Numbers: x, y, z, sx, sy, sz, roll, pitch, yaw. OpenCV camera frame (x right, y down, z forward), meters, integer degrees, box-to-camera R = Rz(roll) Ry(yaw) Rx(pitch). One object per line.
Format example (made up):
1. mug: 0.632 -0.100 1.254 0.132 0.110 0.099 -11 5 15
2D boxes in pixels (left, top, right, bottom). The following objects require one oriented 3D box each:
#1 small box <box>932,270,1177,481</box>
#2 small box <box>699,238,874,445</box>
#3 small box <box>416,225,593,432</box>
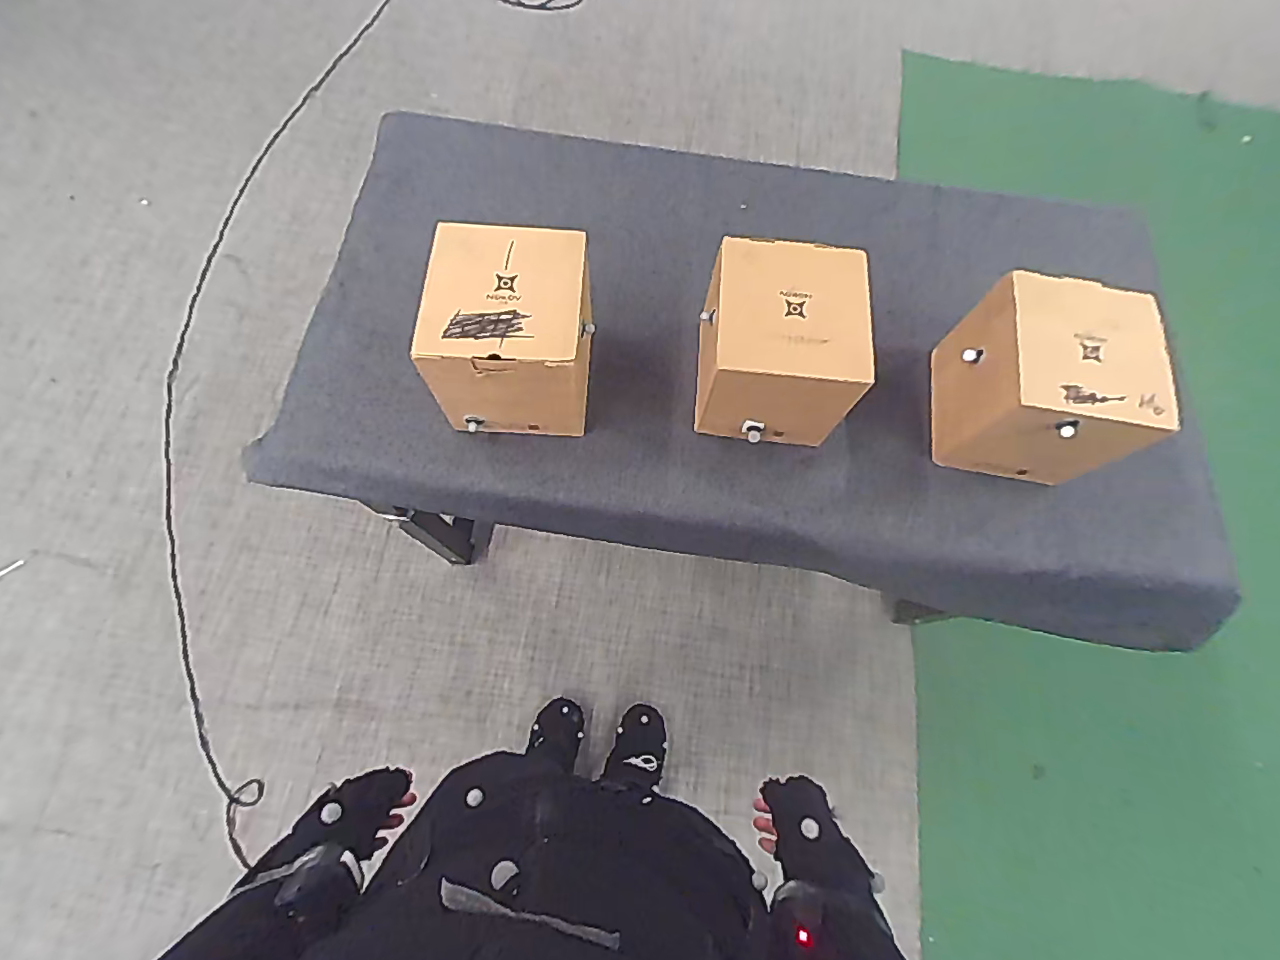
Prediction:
1. small box: 0.478 -0.118 0.658 0.168 0.176 0.179 10 69 2
2. small box: 0.165 -0.160 0.661 0.168 0.176 0.179 4 71 0
3. small box: -0.145 -0.170 0.647 0.168 0.176 0.179 3 68 -2
